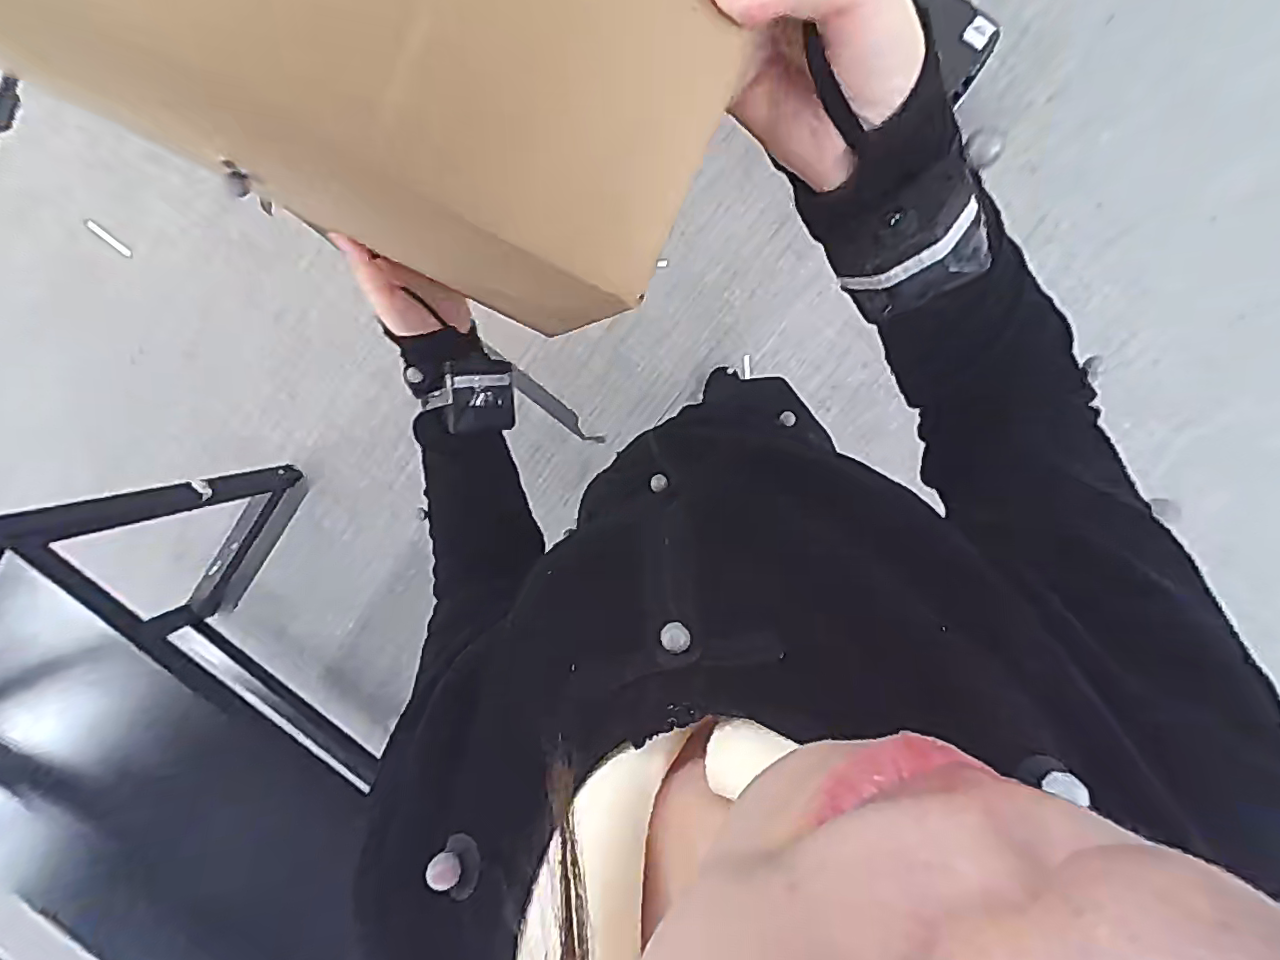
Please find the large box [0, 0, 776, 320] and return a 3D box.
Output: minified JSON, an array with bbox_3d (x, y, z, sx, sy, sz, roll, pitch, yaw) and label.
[{"bbox_3d":[-0.141,-0.317,0.275,0.408,0.320,0.320,24,95,-18],"label":"large box"}]
